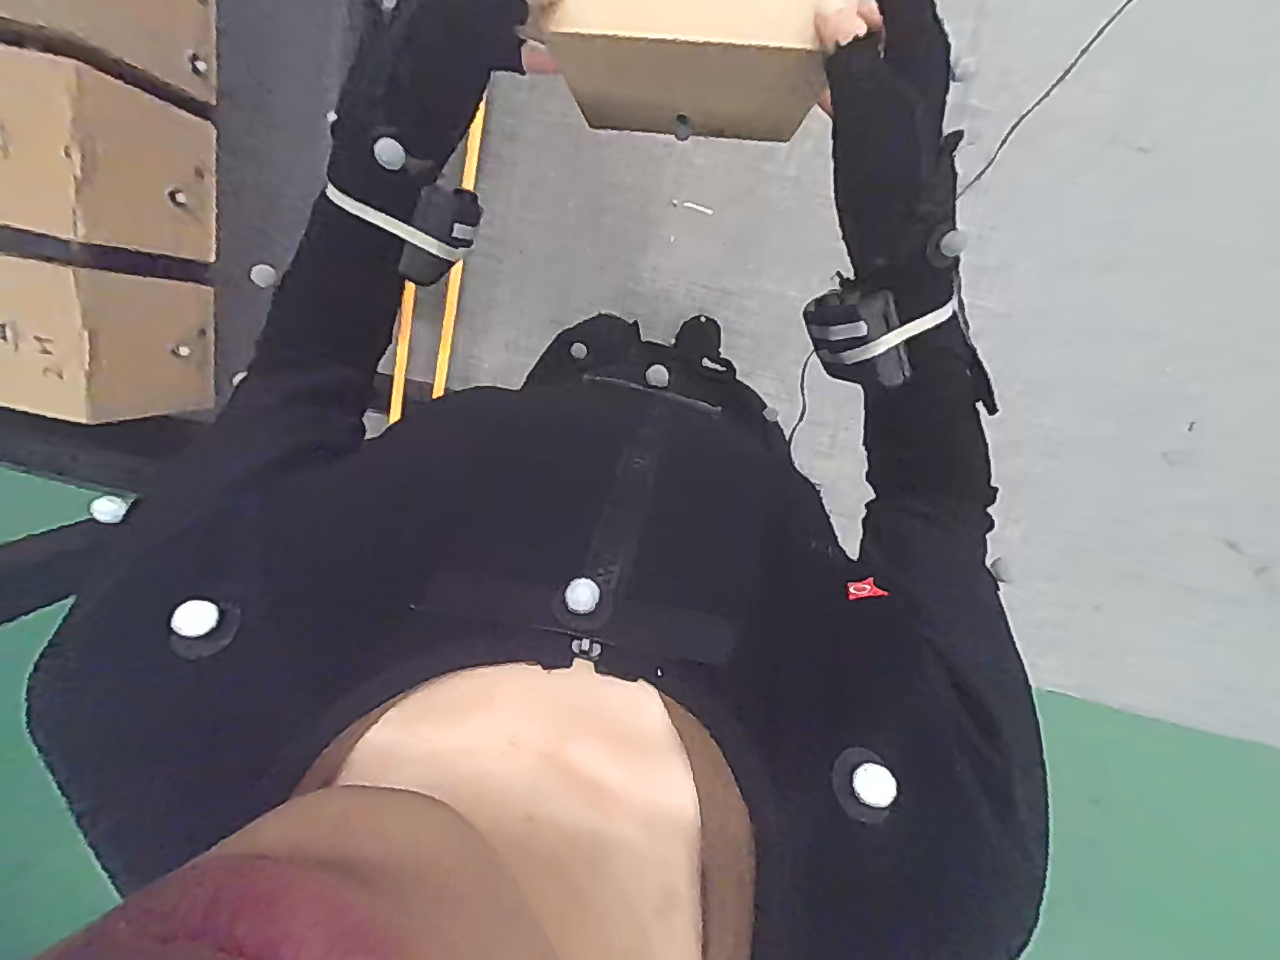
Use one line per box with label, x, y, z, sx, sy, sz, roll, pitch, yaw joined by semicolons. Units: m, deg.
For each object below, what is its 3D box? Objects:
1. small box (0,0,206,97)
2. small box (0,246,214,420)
small box;-0.593;-0.532;0.560;0.179;0.176;0.168;13;105;3
small box;-0.670;-0.178;0.656;0.179;0.176;0.168;12;105;2
